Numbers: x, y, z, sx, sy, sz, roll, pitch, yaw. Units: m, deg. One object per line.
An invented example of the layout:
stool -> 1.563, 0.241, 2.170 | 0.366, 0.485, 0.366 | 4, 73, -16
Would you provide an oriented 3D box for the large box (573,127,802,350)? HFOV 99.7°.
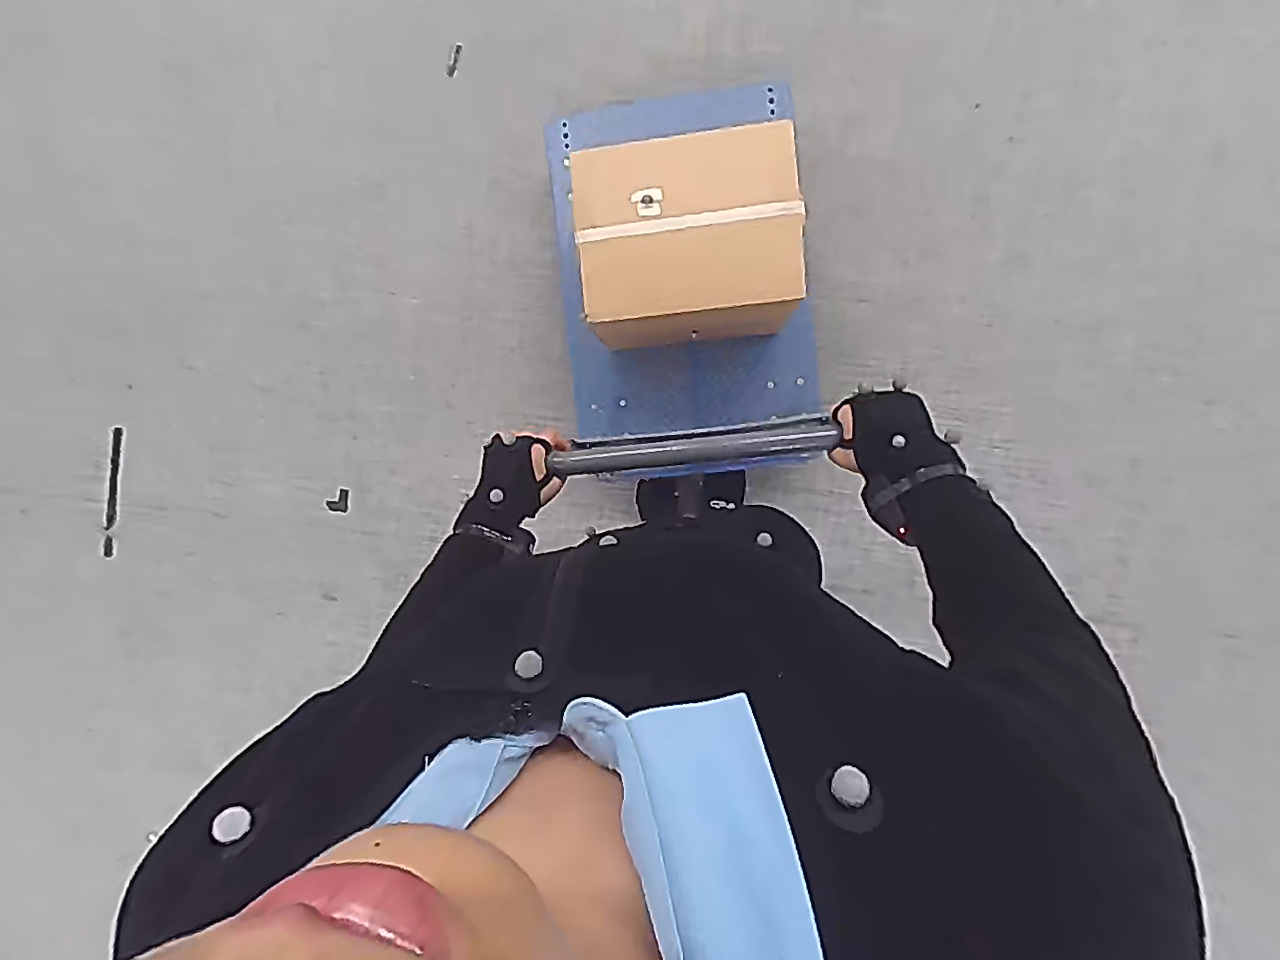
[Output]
large box -> 0.102, -0.473, 1.146 | 0.408, 0.320, 0.320 | -5, 92, 7
